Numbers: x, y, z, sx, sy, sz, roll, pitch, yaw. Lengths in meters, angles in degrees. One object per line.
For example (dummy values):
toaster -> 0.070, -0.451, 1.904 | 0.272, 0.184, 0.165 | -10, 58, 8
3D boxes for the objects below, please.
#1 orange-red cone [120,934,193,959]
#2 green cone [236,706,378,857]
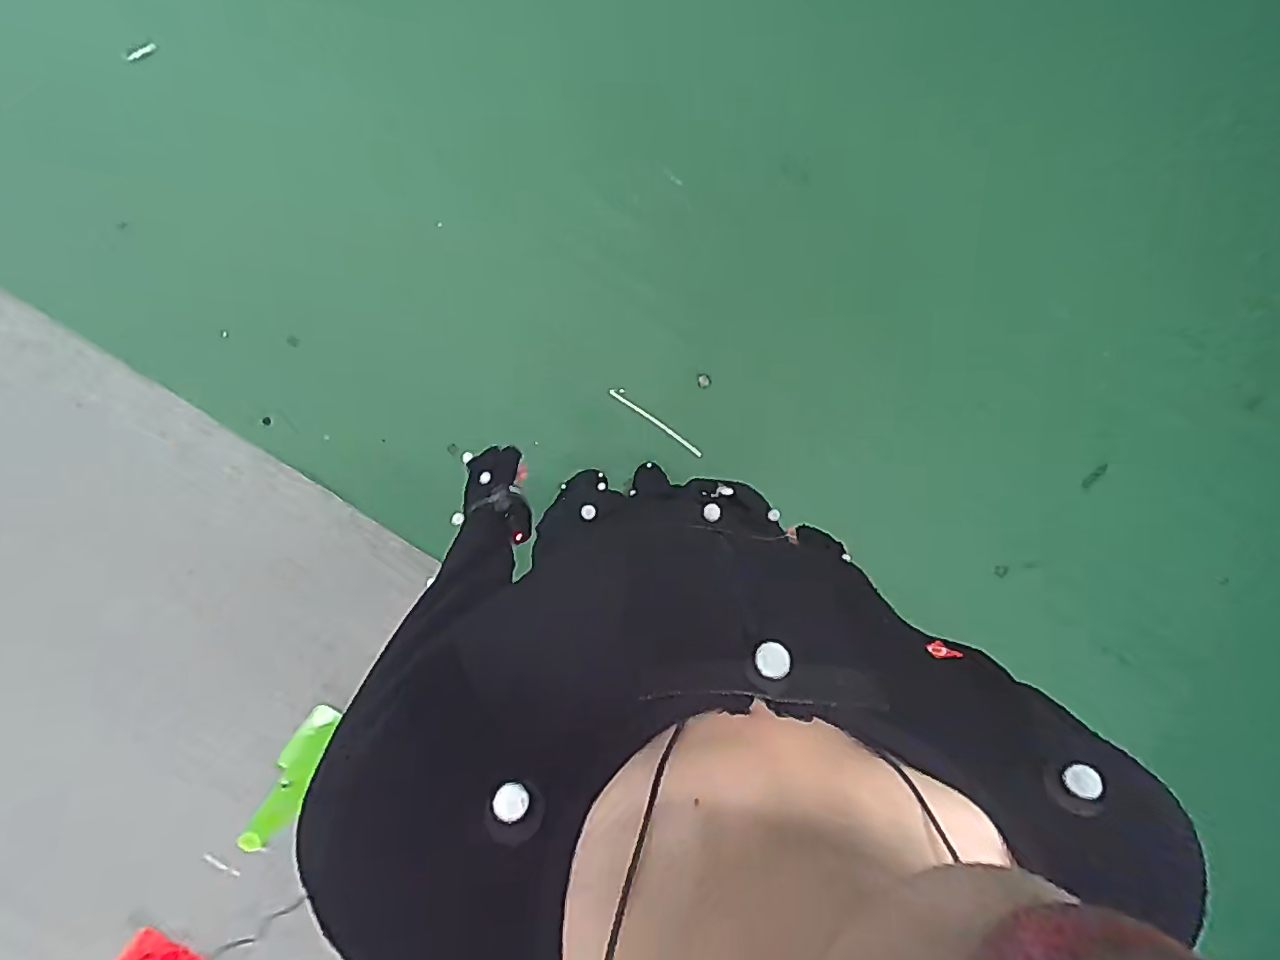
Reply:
orange-red cone -> -1.262, 1.318, 1.251 | 0.198, 0.360, 0.199 | 39, 86, -6
green cone -> -0.819, 0.736, 1.276 | 0.200, 0.368, 0.202 | 37, 89, -5
